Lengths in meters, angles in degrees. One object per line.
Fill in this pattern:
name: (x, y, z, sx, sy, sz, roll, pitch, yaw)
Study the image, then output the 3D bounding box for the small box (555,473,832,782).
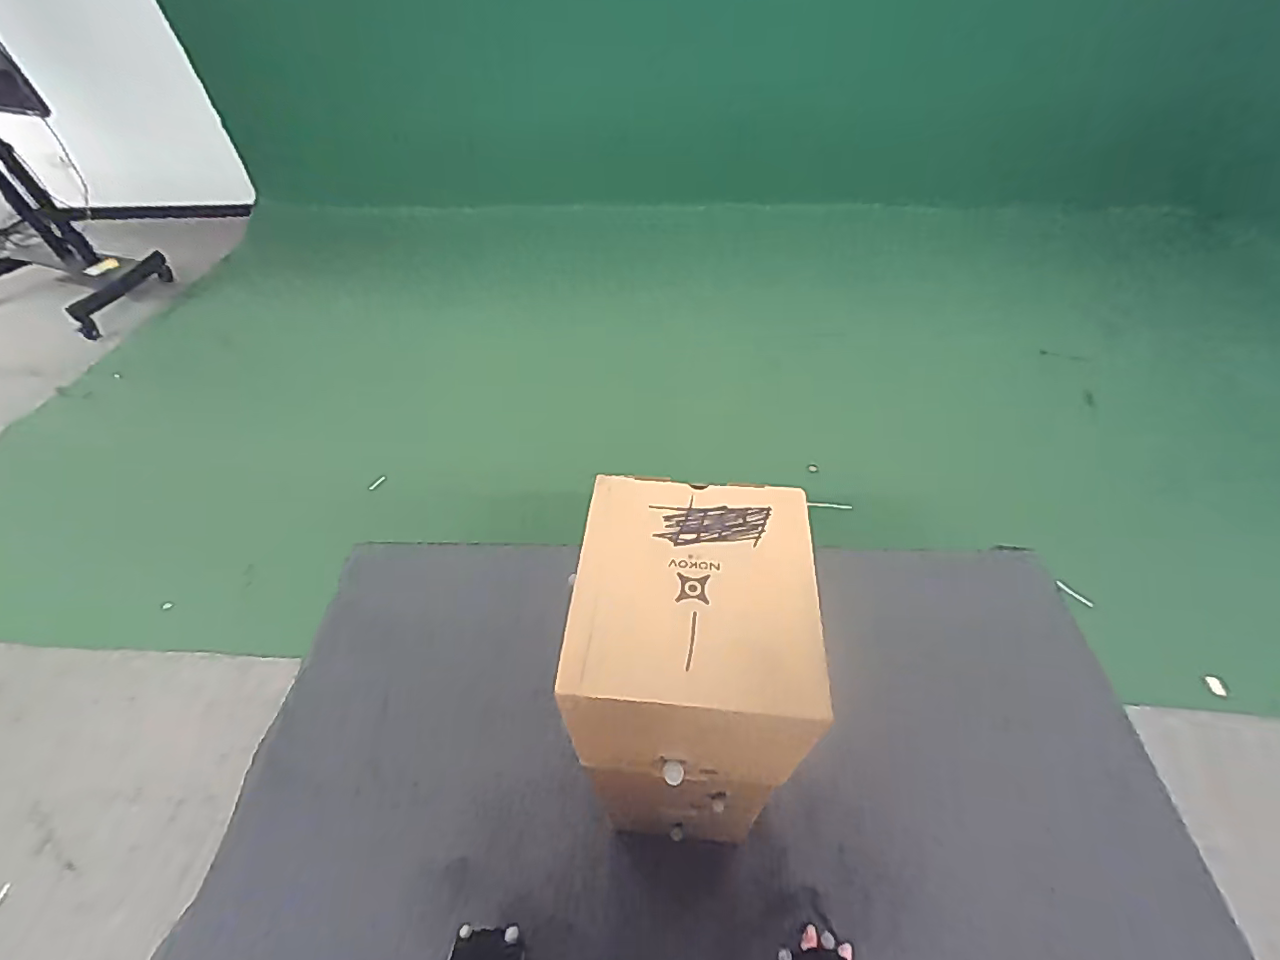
small box: (0.040, 0.118, 0.428, 0.168, 0.176, 0.179, 3, 51, 5)

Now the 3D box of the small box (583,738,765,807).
small box: (0.043, 0.220, 0.556, 0.168, 0.176, 0.179, 2, 49, 4)

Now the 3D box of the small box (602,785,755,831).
small box: (0.053, 0.325, 0.680, 0.168, 0.176, 0.179, 2, 50, 5)
